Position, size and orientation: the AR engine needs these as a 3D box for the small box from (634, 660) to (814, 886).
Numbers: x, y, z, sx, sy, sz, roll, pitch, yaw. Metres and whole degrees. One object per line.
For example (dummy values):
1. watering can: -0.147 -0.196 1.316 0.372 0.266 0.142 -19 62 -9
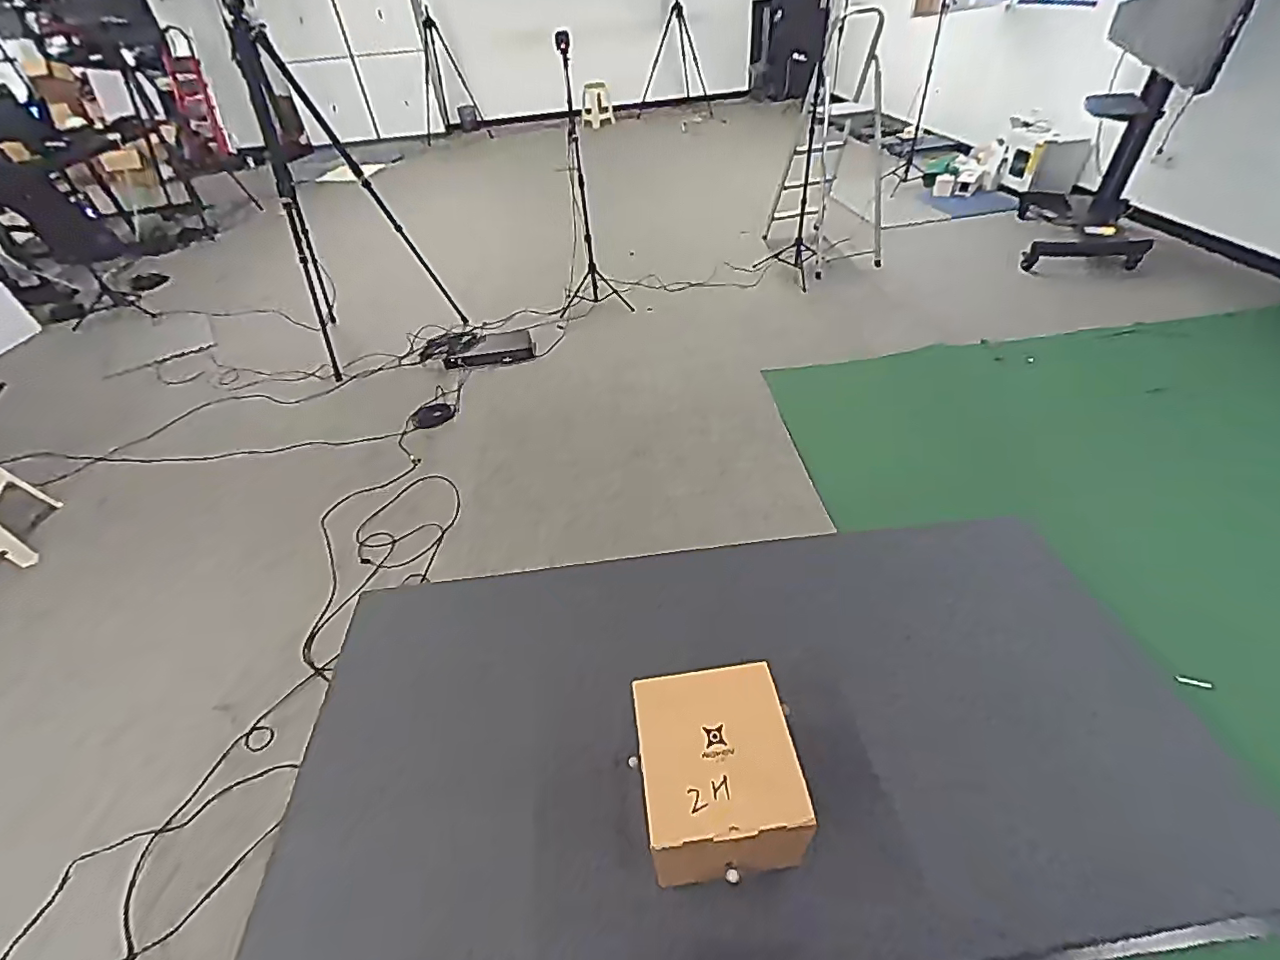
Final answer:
1. small box: 0.086 0.342 0.636 0.168 0.176 0.179 -8 42 -2
